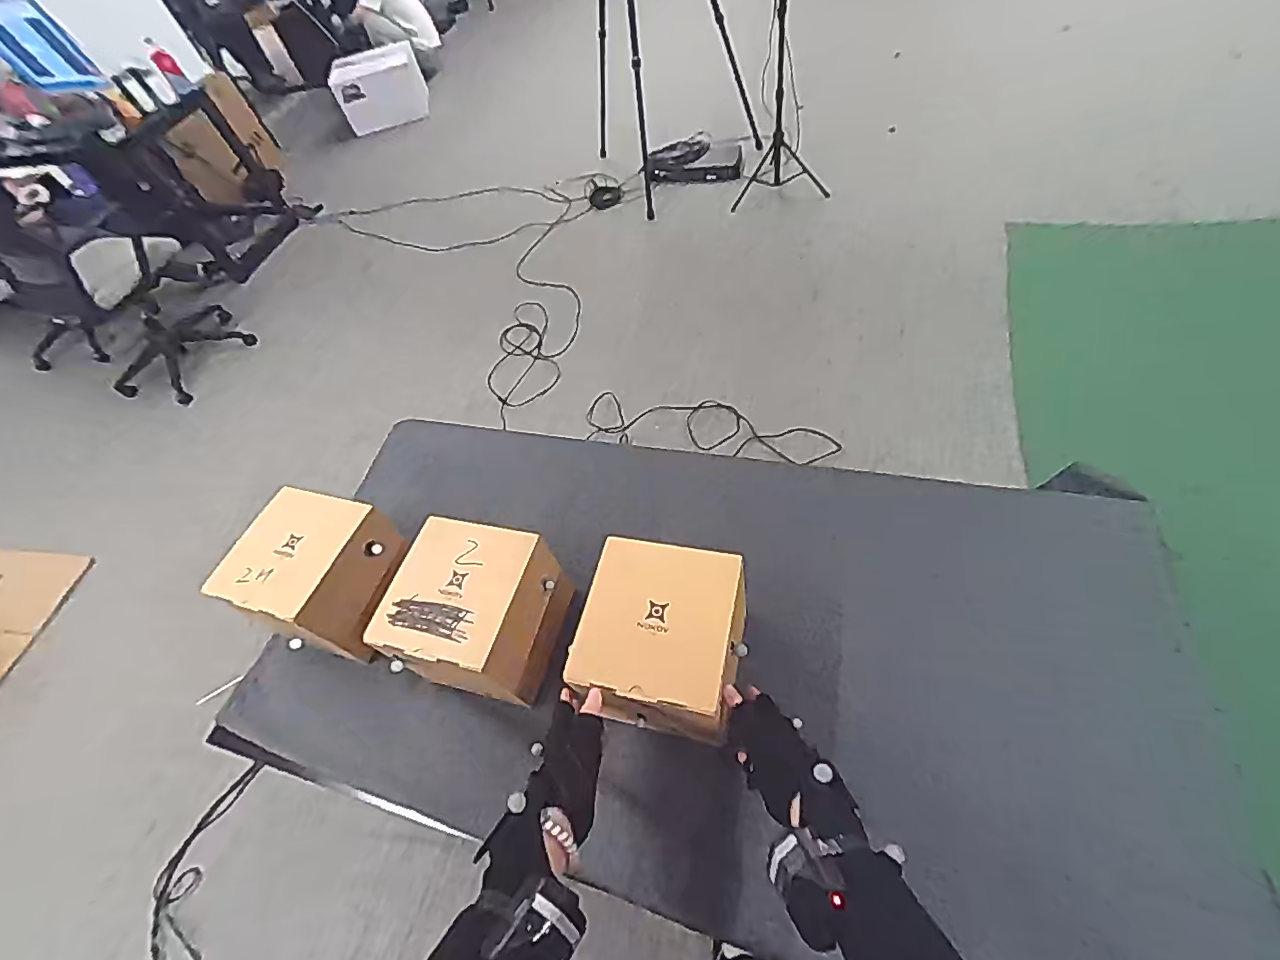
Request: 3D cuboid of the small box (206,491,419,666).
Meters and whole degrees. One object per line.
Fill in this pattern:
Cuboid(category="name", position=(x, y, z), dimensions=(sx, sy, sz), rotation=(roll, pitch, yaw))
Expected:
Cuboid(category="small box", position=(-0.455, 0.144, 0.789), dimensions=(0.168, 0.176, 0.179), rotation=(10, 56, 18))

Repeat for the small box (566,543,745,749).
Cuboid(category="small box", position=(0.032, 0.201, 0.652), dimensions=(0.168, 0.176, 0.179), rotation=(7, 57, 16))
